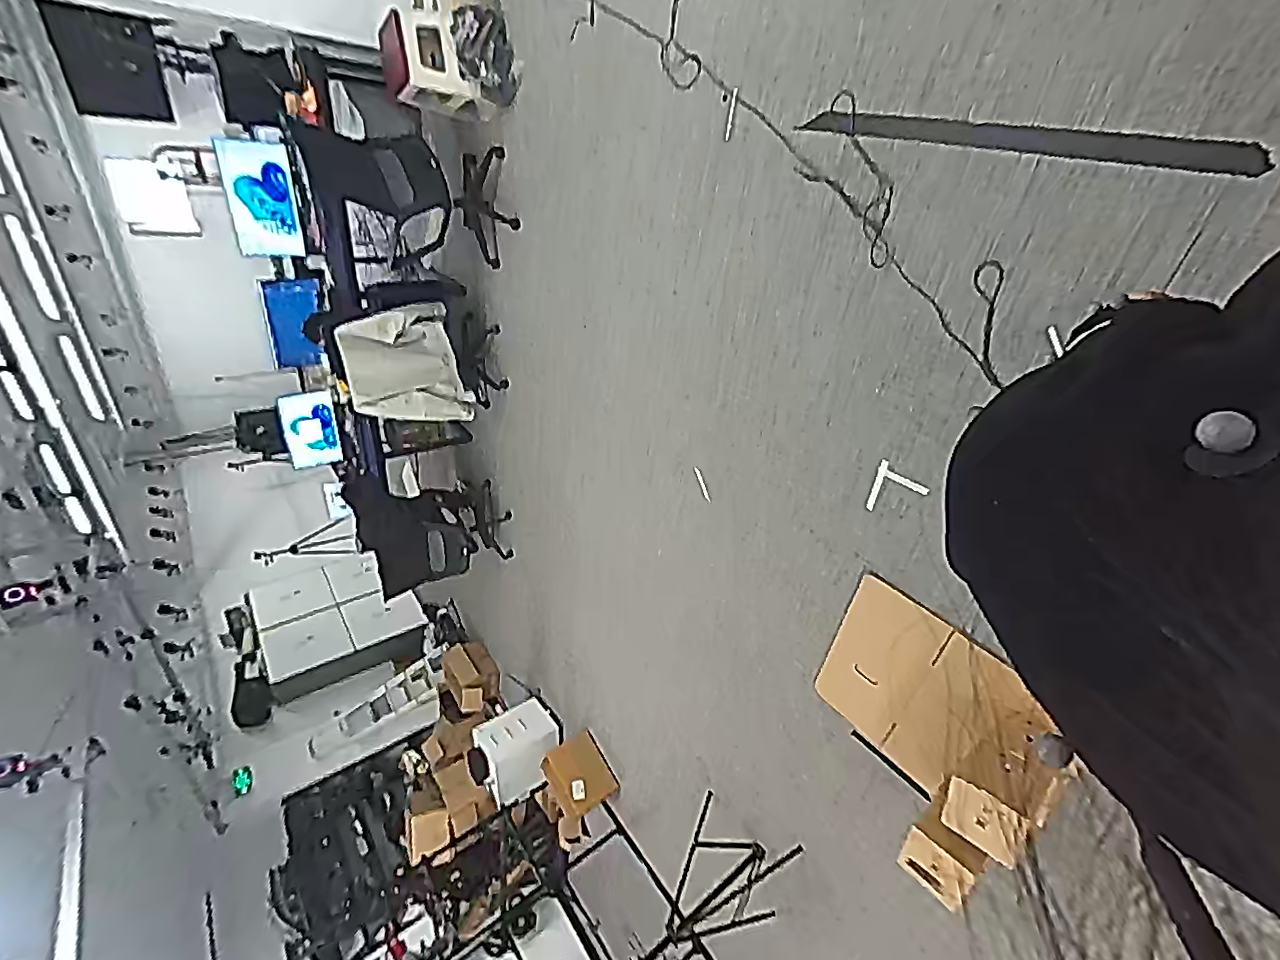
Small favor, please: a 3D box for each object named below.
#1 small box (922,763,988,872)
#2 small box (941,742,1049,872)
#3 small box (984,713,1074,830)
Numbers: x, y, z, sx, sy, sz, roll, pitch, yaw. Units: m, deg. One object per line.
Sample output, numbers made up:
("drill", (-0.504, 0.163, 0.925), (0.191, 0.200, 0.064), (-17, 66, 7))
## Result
("small box", (0.967, 0.983, 1.587), (0.168, 0.176, 0.179), (28, 125, 44))
("small box", (0.879, 0.800, 1.339), (0.168, 0.176, 0.179), (22, 121, 46))
("small box", (1.011, 0.757, 1.427), (0.168, 0.176, 0.179), (22, 121, 47))
